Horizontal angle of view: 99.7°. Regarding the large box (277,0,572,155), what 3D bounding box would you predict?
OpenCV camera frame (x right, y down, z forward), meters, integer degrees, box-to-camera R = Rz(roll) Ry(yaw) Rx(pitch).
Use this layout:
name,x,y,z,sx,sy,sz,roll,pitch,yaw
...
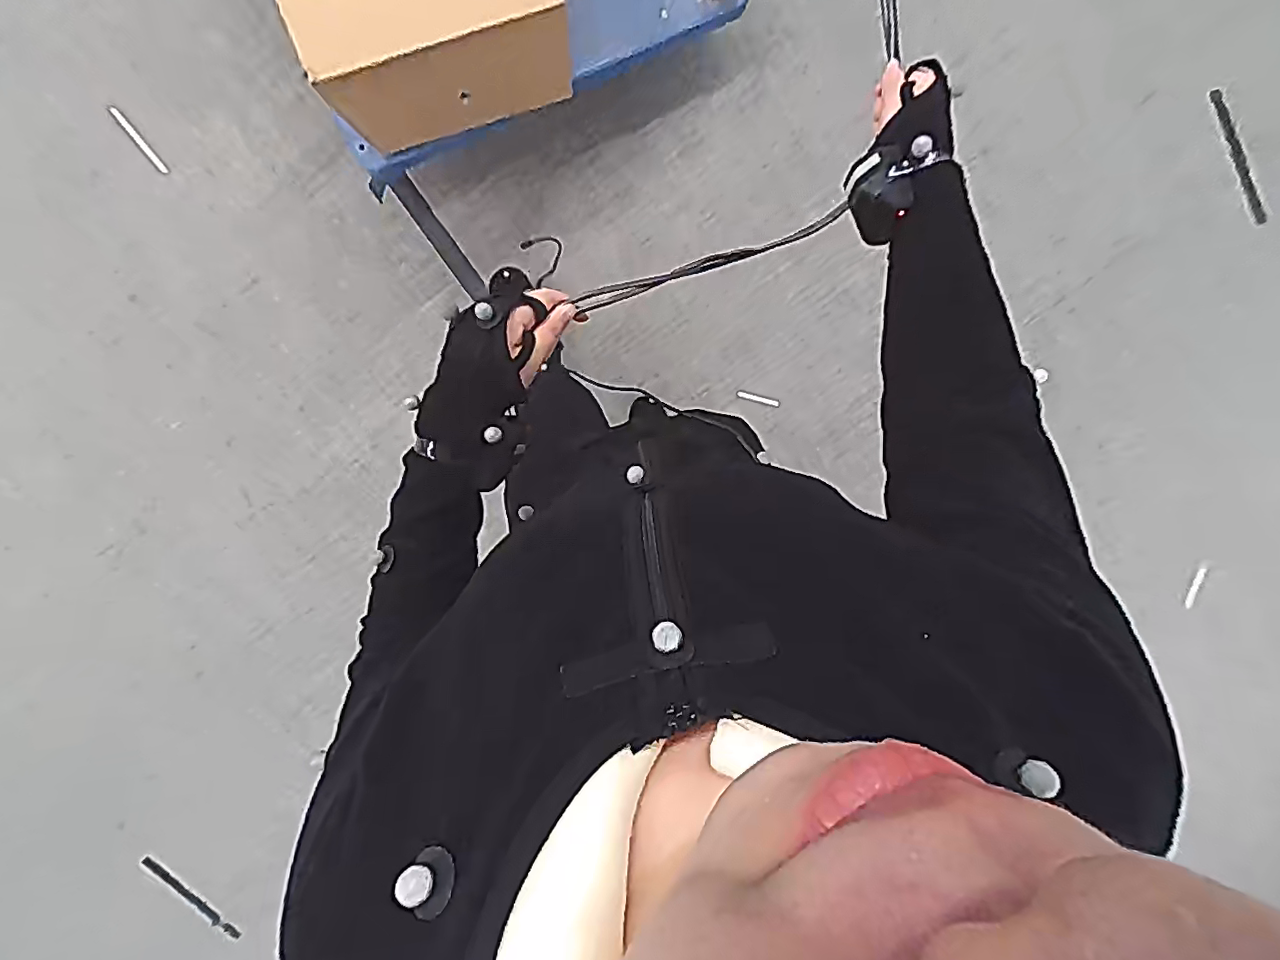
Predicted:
name,x,y,z,sx,sy,sz,roll,pitch,yaw
large box,-0.357,-0.818,0.912,0.408,0.320,0.320,-19,103,0
